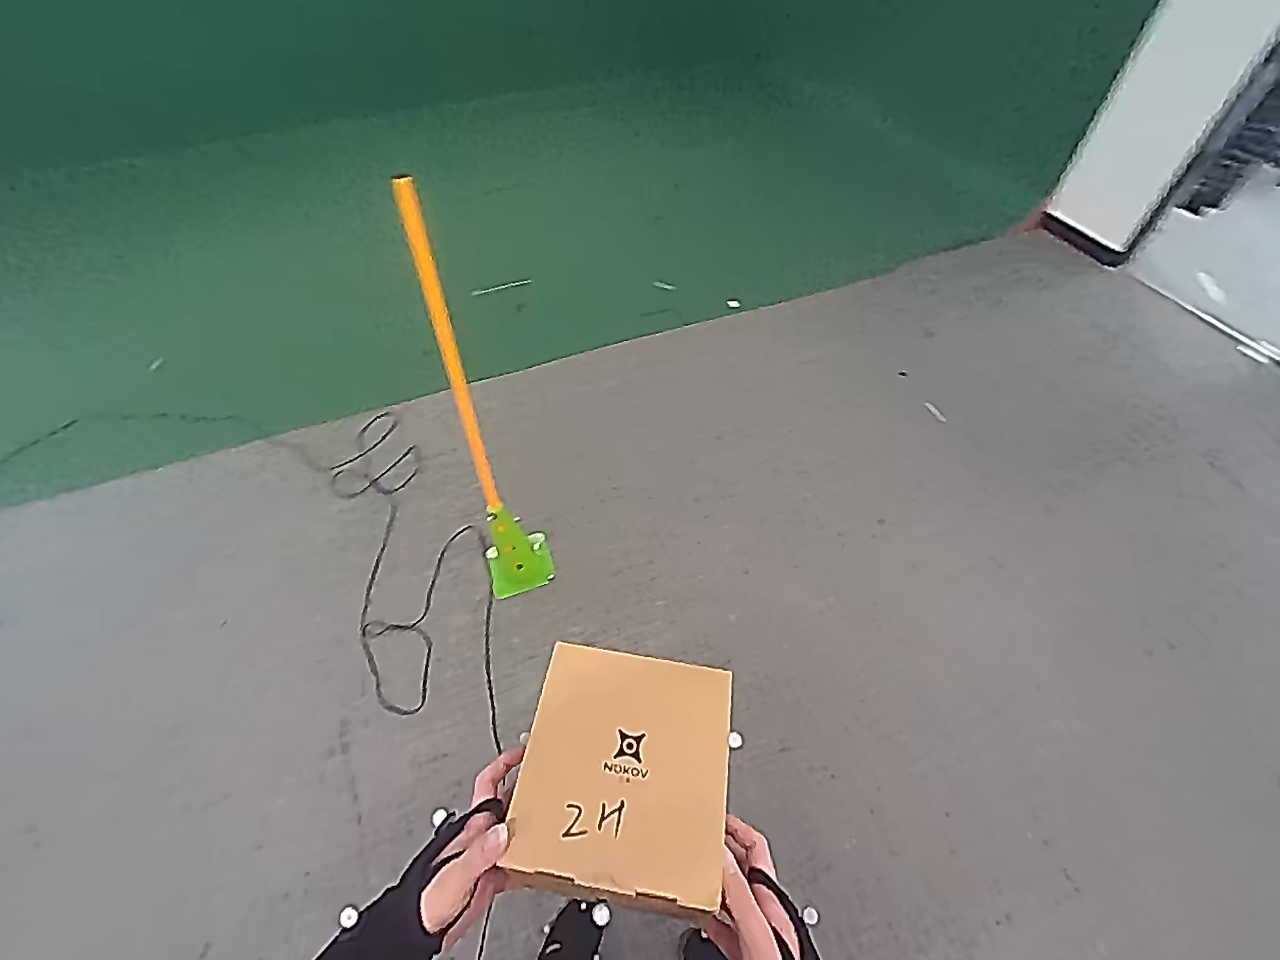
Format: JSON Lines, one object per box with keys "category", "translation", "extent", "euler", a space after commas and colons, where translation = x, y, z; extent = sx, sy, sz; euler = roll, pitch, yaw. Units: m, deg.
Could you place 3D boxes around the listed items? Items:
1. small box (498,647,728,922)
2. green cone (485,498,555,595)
{"category": "small box", "translation": [-0.018, 0.285, 0.506], "extent": [0.168, 0.176, 0.179], "euler": [9, 49, 4]}
{"category": "green cone", "translation": [-0.405, 0.169, 1.666], "extent": [0.202, 0.368, 0.200], "euler": [-18, 54, -10]}
